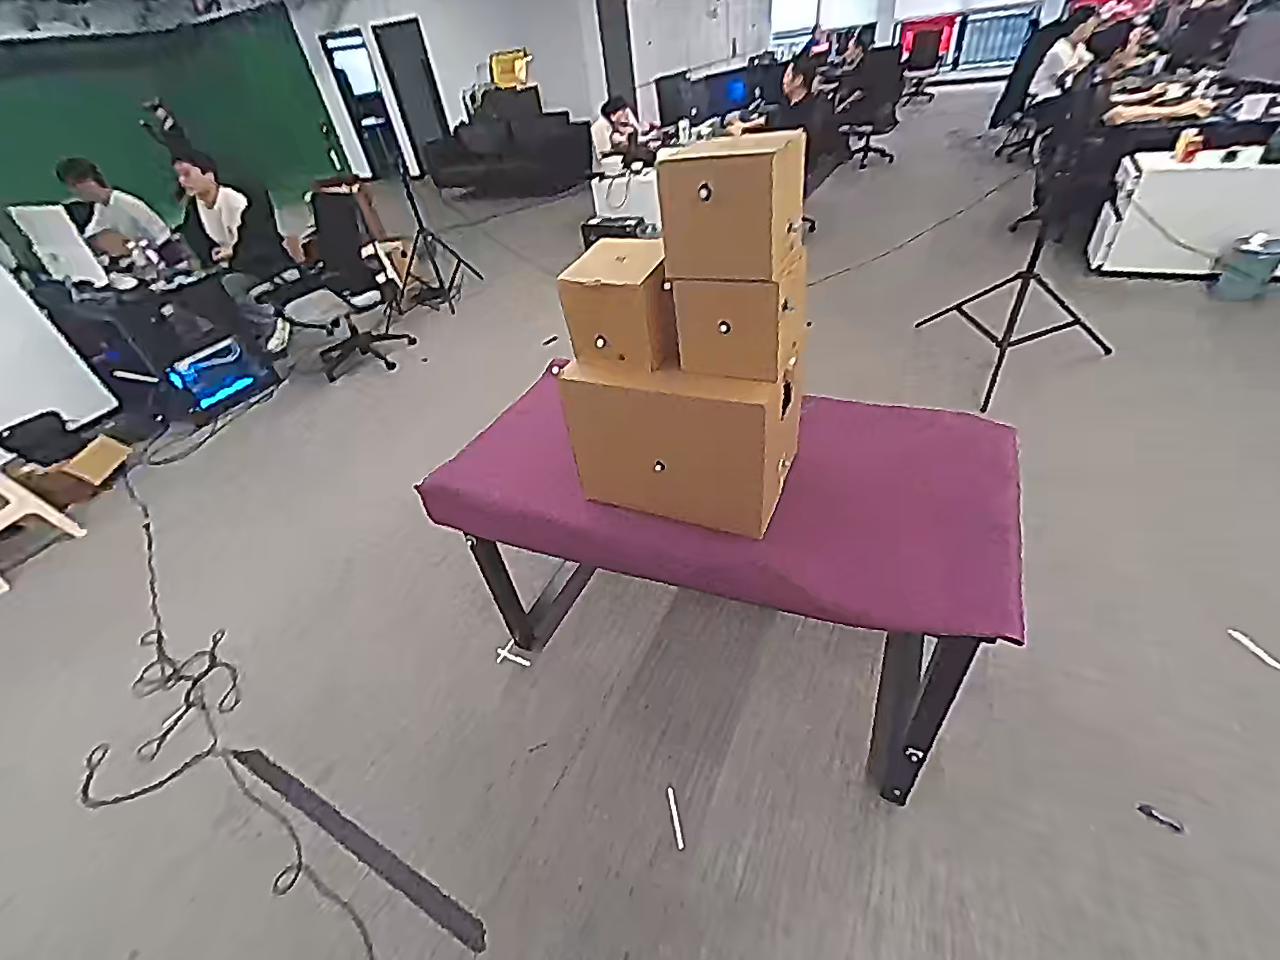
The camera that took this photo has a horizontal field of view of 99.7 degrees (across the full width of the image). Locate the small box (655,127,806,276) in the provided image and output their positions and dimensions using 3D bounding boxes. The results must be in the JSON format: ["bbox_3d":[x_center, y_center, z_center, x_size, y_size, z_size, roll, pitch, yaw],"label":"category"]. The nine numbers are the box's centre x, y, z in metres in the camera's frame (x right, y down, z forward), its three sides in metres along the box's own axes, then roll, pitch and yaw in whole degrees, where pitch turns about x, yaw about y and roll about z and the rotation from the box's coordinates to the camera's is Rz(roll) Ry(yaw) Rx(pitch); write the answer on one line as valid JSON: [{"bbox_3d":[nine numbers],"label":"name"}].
[{"bbox_3d":[0.143,-0.424,0.830,0.179,0.176,0.168,12,43,25],"label":"small box"}]
